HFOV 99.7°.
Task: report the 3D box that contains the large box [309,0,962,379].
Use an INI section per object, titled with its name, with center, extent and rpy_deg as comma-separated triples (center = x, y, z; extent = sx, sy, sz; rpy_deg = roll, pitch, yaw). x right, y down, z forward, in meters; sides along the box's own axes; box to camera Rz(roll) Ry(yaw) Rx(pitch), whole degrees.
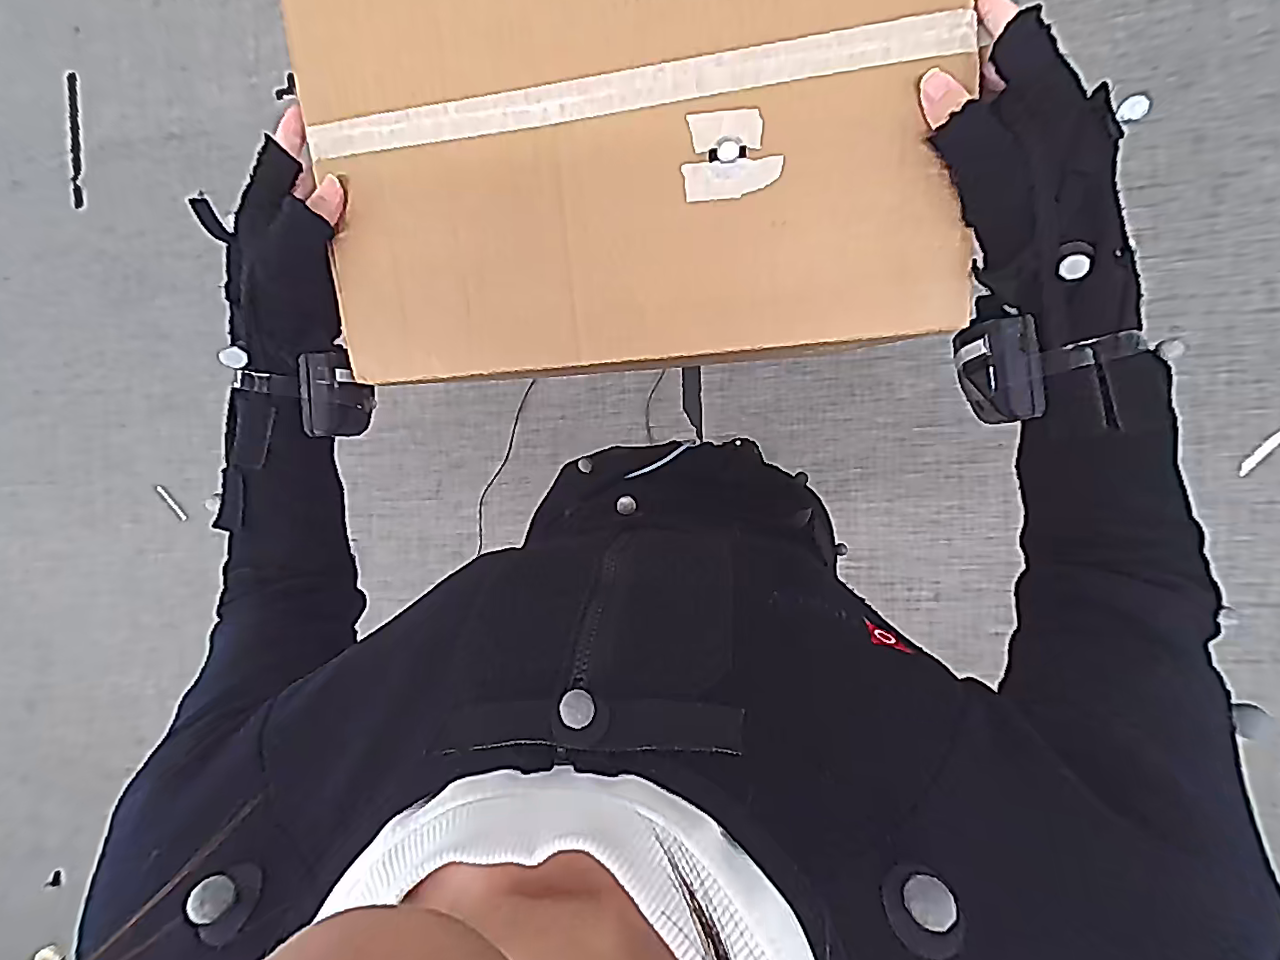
[large box]
center = 0.006, -0.267, 0.483
extent = 0.408, 0.320, 0.320
rpy_deg = -4, 101, 8
